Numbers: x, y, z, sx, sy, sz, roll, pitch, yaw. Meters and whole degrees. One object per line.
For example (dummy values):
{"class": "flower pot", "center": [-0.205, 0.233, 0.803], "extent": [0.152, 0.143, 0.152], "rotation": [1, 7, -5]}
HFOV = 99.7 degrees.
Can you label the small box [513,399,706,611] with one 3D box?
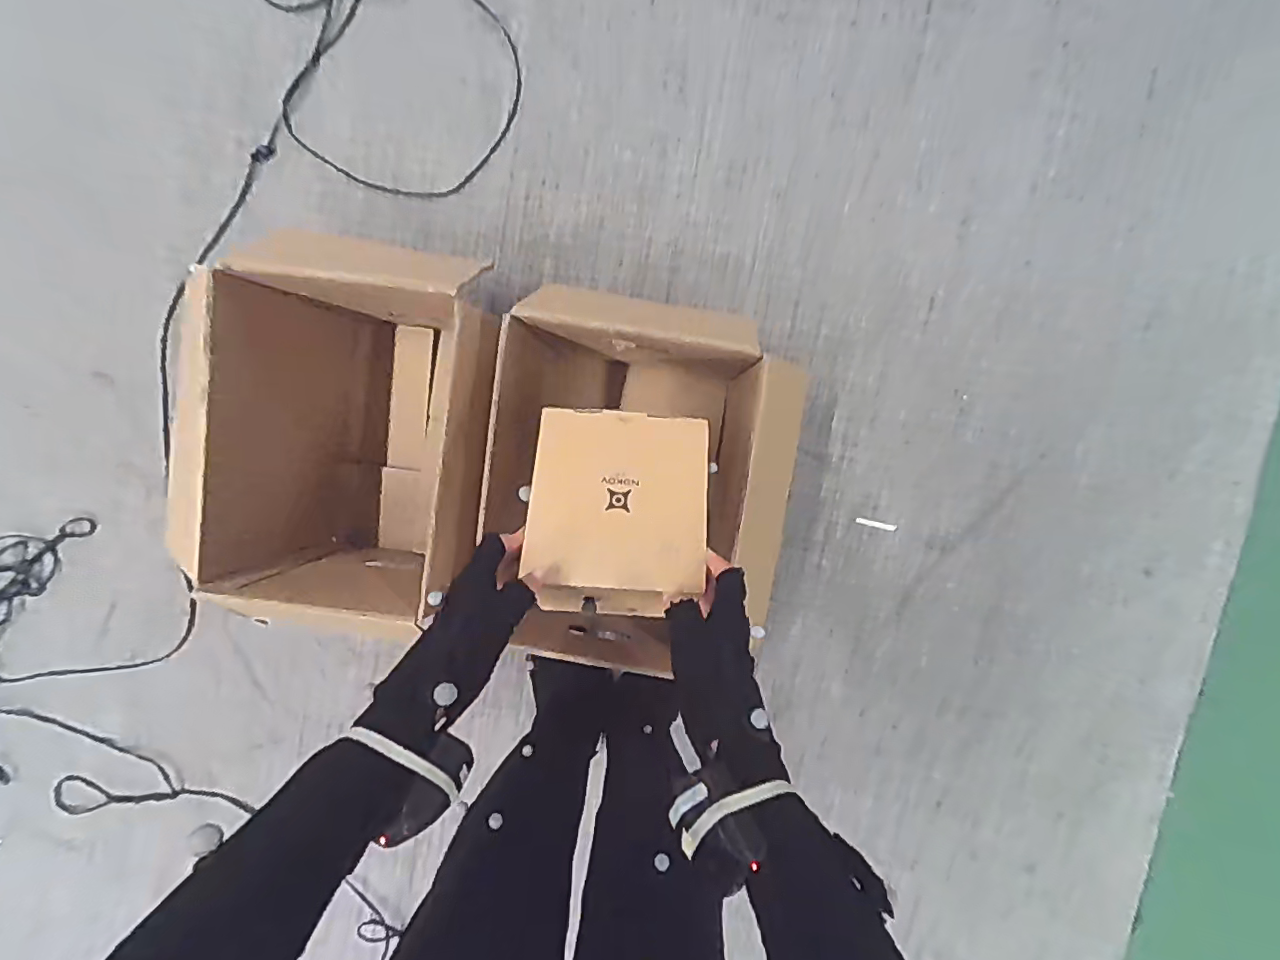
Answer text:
{"class": "small box", "center": [-0.025, 0.037, 0.563], "extent": [0.168, 0.176, 0.179], "rotation": [4, 68, -2]}
